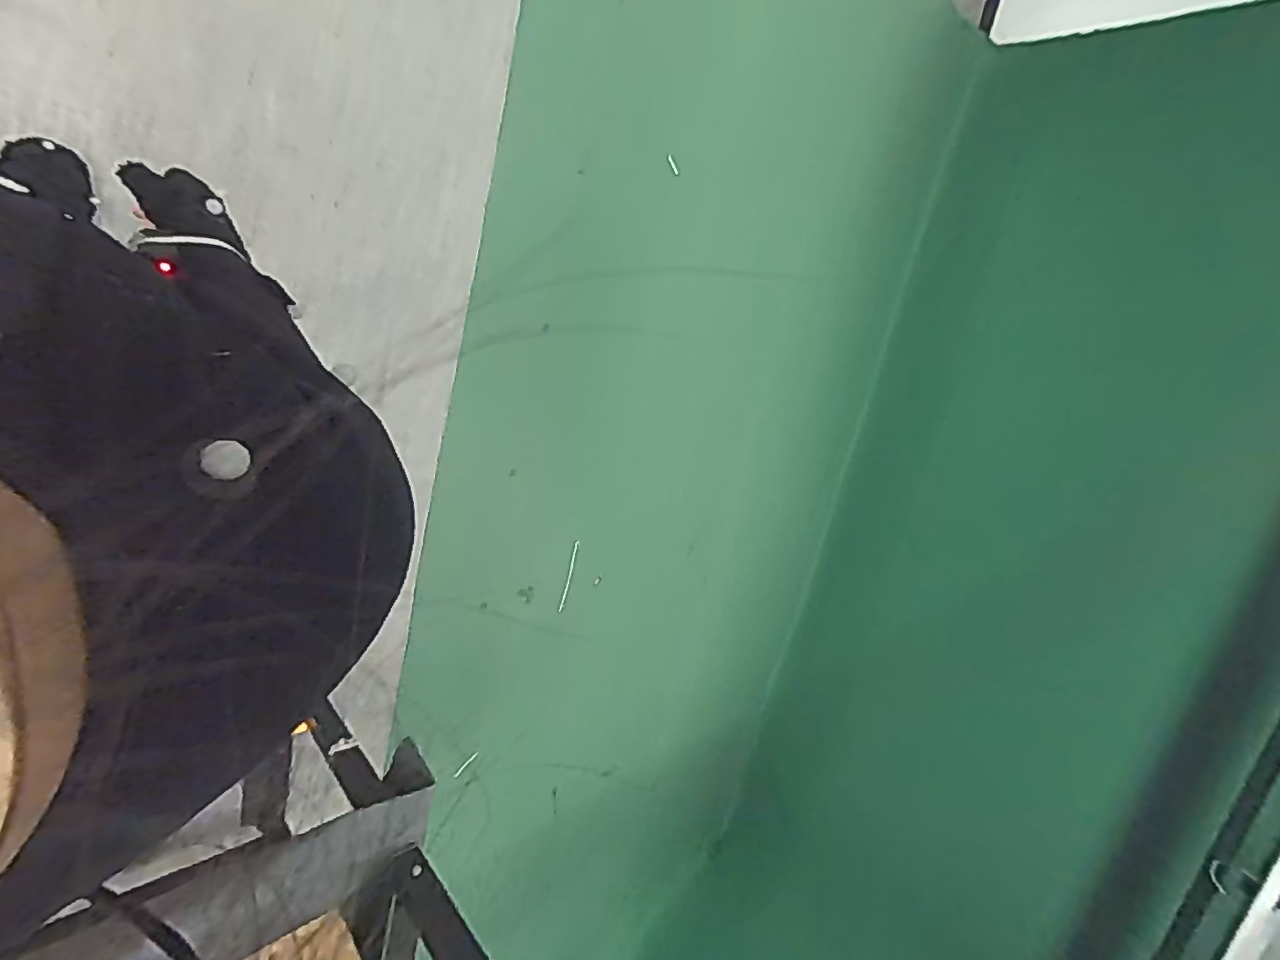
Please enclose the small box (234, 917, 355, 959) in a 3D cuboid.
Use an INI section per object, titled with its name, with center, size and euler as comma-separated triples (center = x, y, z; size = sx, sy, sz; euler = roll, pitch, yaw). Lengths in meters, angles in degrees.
[small box]
center = -0.563, 0.858, 0.866
size = 0.168, 0.176, 0.179
euler = 0, 109, -48
